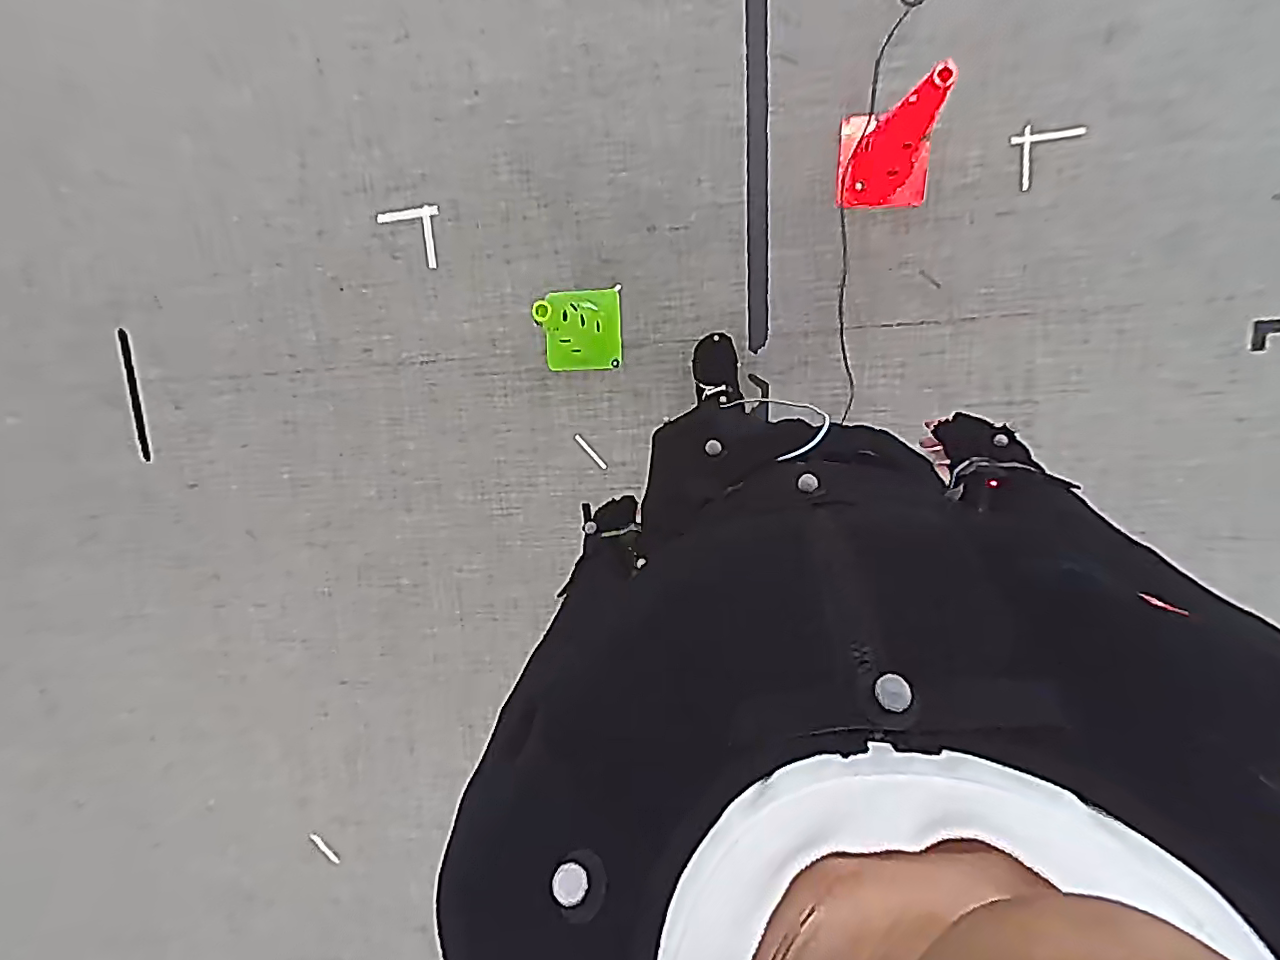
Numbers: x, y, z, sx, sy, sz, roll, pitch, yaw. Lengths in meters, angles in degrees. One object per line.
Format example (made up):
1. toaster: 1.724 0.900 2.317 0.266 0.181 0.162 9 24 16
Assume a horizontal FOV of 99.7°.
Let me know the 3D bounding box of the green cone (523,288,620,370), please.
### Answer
1. green cone: -0.179 -0.366 1.235 0.202 0.368 0.200 -1 98 9

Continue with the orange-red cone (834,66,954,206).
1. orange-red cone: 0.542 -0.717 1.093 0.199 0.360 0.198 3 100 6
